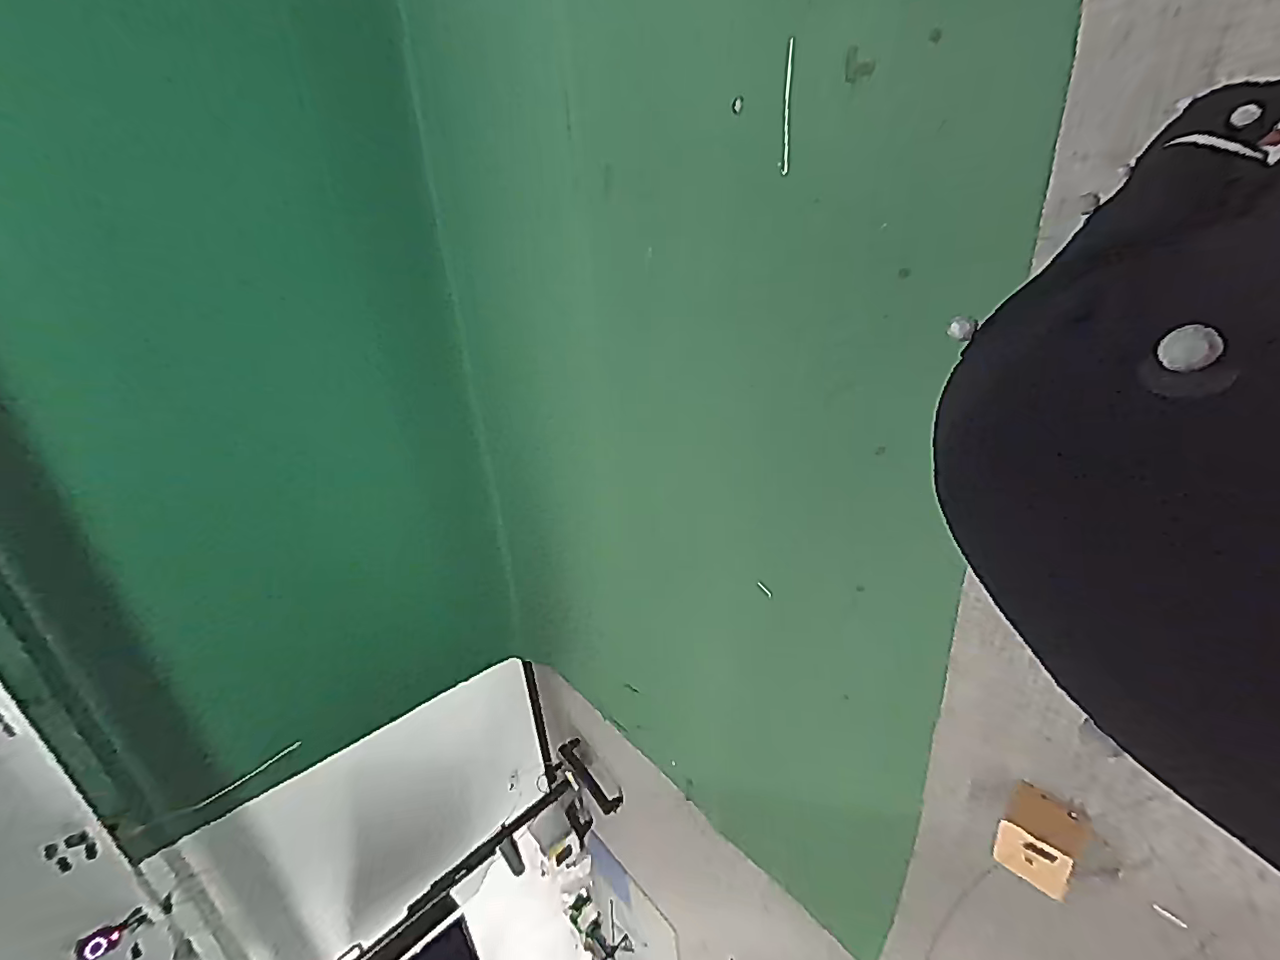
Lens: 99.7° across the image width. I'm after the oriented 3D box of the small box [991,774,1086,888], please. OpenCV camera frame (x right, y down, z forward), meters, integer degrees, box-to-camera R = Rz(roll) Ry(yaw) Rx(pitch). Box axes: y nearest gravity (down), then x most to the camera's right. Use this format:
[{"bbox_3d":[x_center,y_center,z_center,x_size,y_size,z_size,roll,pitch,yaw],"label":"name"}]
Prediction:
[{"bbox_3d":[1.131,0.984,1.534,0.168,0.176,0.179,21,124,46],"label":"small box"}]
